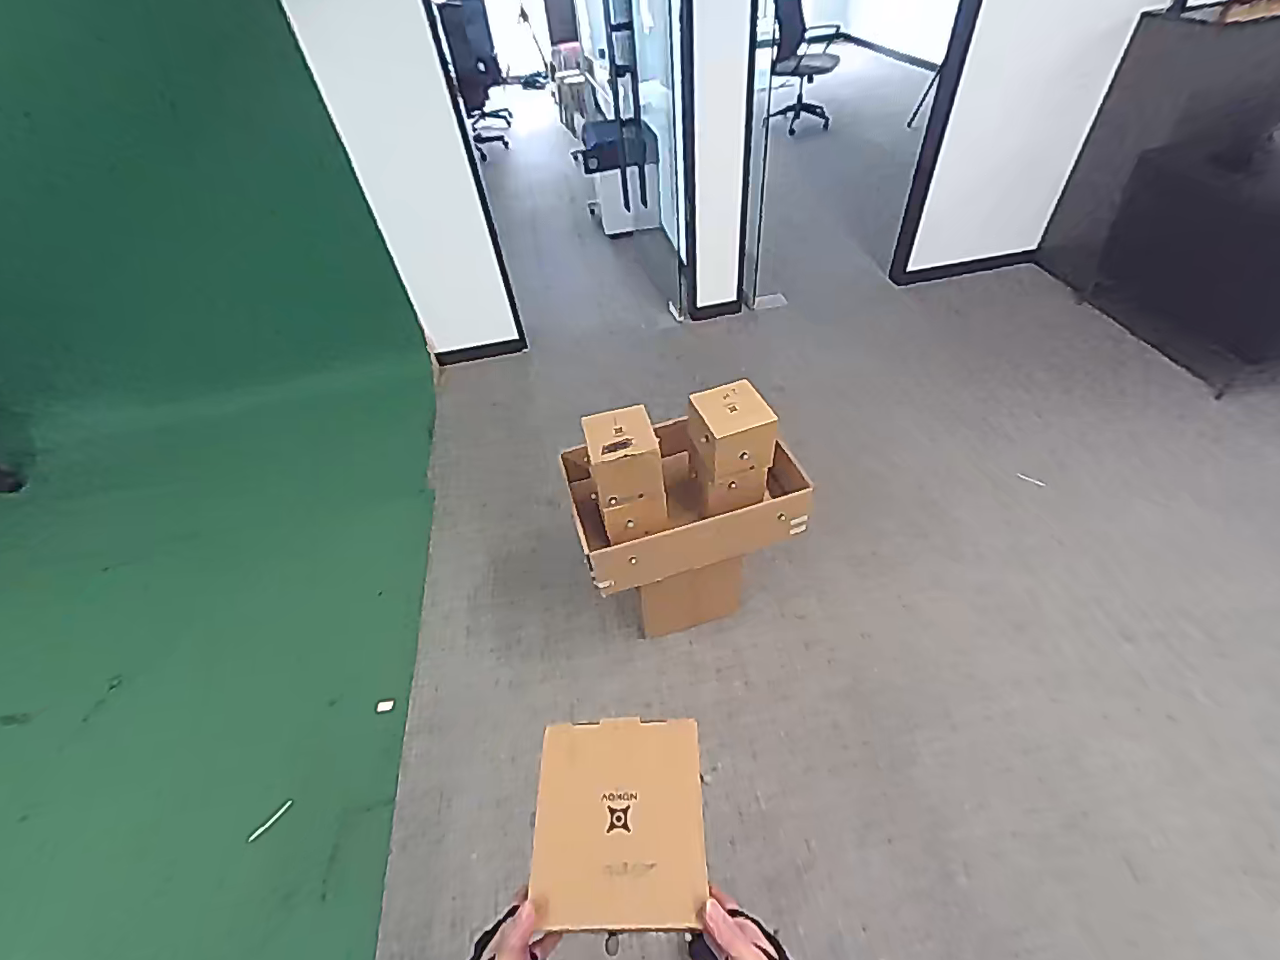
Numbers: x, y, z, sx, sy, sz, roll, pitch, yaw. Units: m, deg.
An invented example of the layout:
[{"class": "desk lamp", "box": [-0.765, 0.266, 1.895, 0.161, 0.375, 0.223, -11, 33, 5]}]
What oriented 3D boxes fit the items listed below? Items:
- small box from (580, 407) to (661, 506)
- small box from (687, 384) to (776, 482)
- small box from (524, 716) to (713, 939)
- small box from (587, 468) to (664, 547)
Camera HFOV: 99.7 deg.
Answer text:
[{"class": "small box", "box": [-0.047, -0.051, 1.352, 0.168, 0.176, 0.179, -12, 45, -5]}, {"class": "small box", "box": [0.228, -0.113, 1.380, 0.168, 0.176, 0.179, -16, 48, -10]}, {"class": "small box", "box": [-0.015, 0.369, 0.575, 0.168, 0.176, 0.179, -3, 48, 3]}, {"class": "small box", "box": [-0.037, 0.062, 1.471, 0.168, 0.176, 0.179, -15, 46, -8]}]
